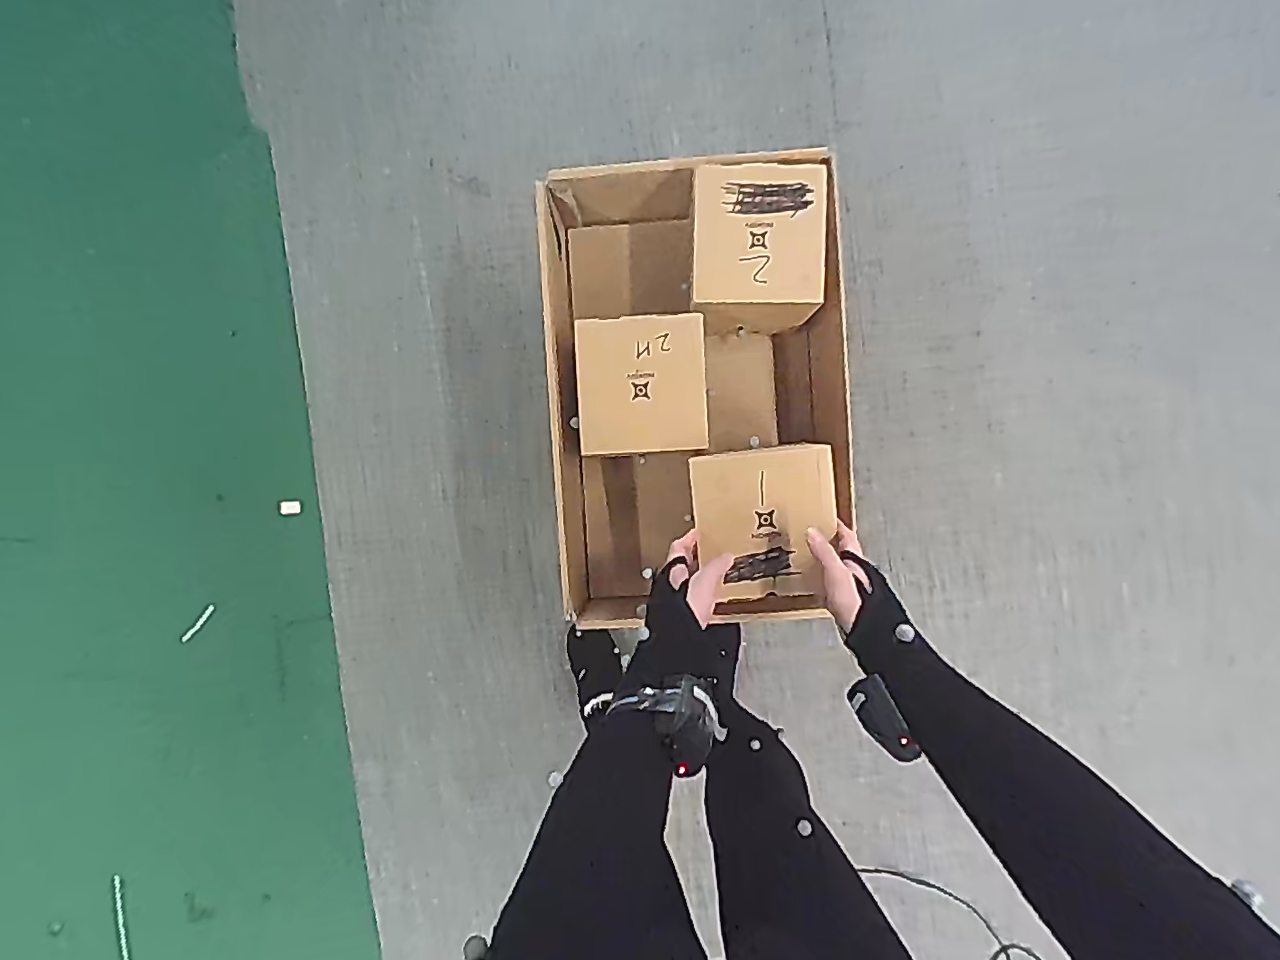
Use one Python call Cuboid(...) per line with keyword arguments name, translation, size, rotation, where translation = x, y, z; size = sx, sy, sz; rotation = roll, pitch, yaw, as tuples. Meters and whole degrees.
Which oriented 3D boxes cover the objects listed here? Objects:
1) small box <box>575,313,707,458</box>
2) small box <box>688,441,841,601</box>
Cuboid(name="small box", translation=(0.006, -0.122, 0.758), size=(0.168, 0.176, 0.179), rotation=(-2, 92, 2))
Cuboid(name="small box", translation=(0.155, 0.045, 0.705), size=(0.168, 0.176, 0.179), rotation=(-6, 94, 7))
